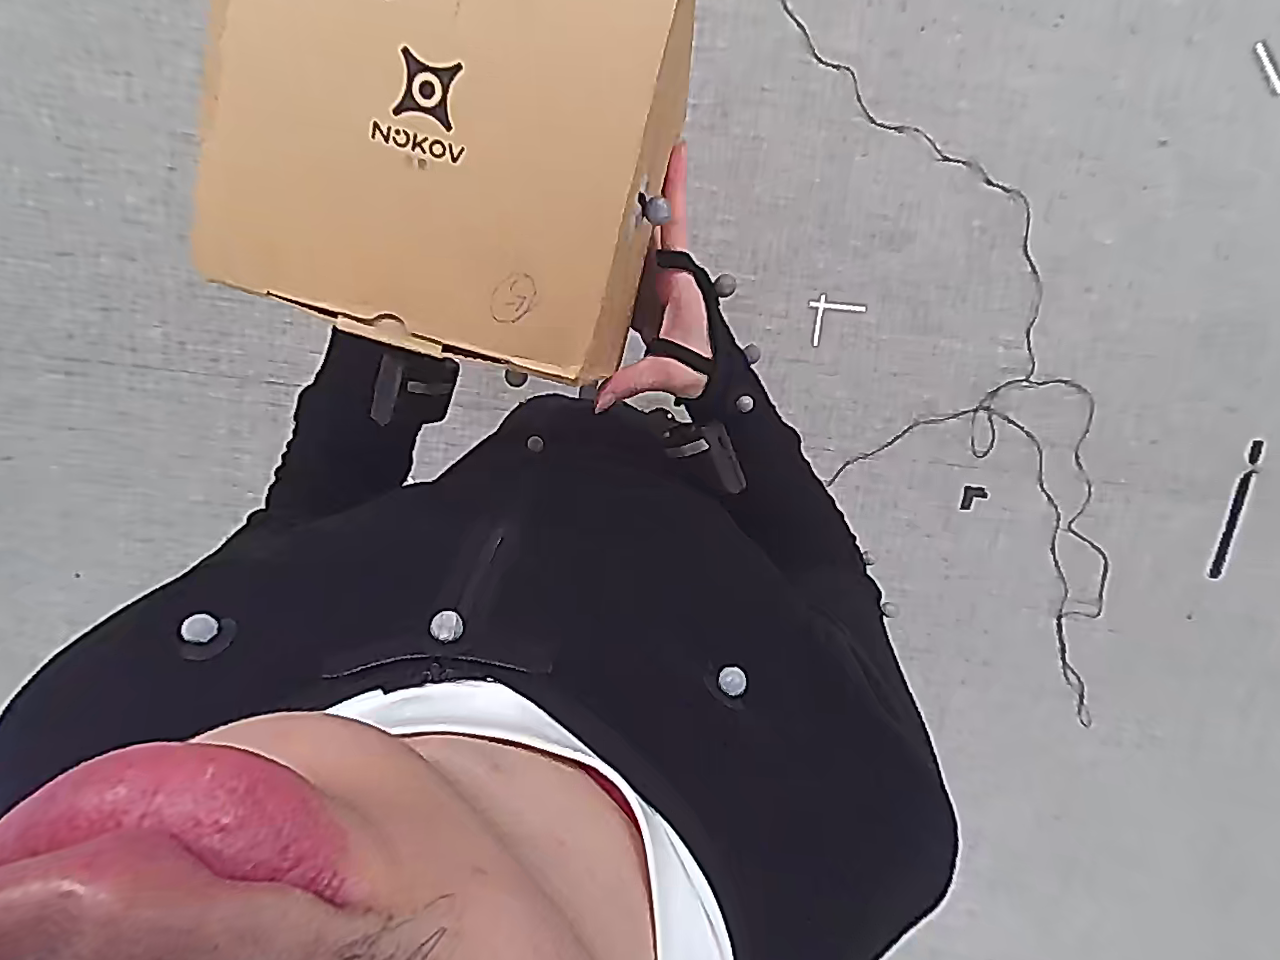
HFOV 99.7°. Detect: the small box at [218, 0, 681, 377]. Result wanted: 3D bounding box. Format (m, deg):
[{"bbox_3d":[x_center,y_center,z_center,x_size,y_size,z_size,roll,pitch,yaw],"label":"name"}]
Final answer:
[{"bbox_3d":[-0.078,-0.165,0.294,0.168,0.176,0.179,16,102,-2],"label":"small box"}]
